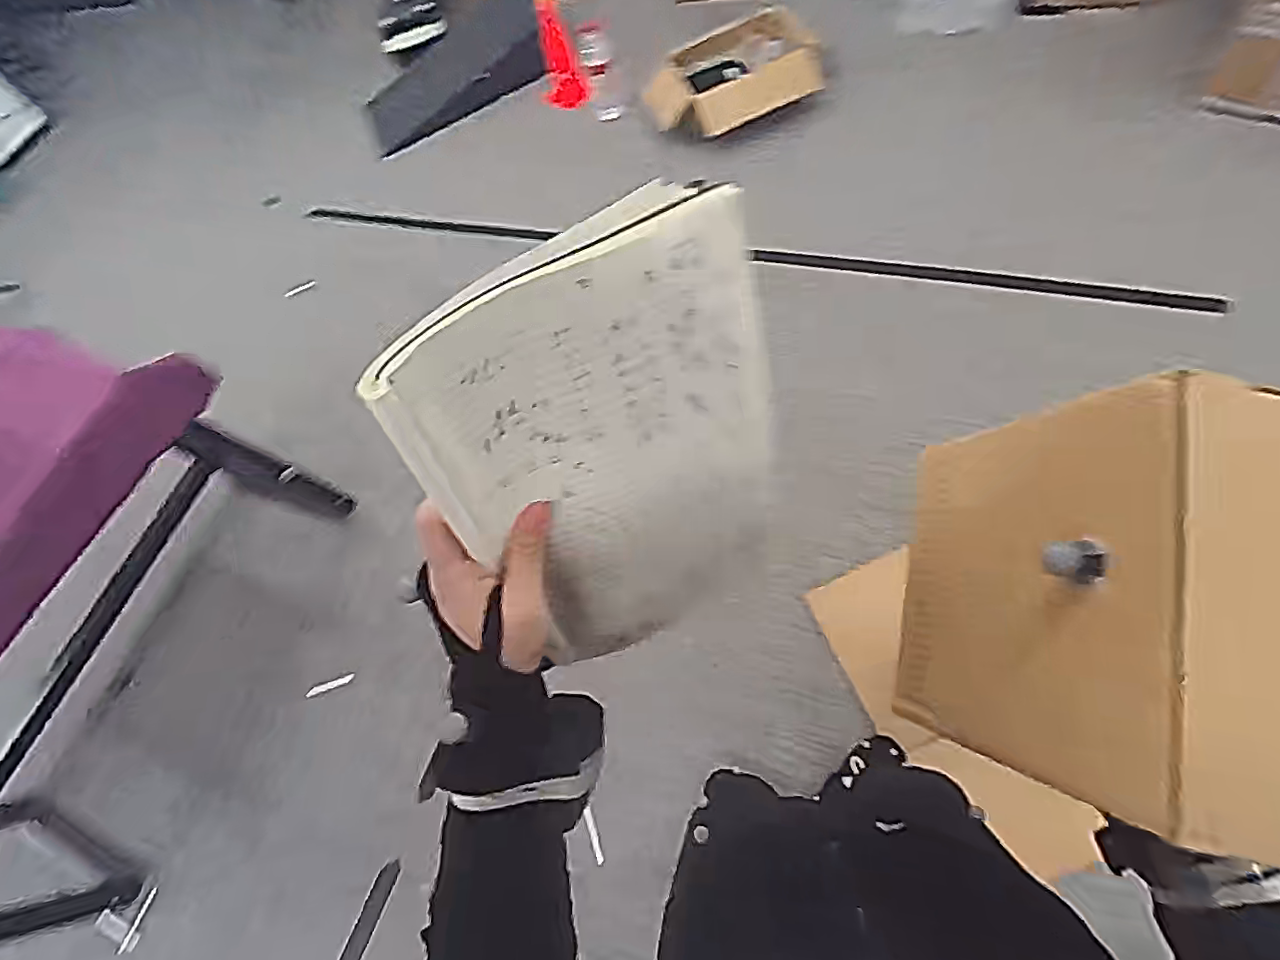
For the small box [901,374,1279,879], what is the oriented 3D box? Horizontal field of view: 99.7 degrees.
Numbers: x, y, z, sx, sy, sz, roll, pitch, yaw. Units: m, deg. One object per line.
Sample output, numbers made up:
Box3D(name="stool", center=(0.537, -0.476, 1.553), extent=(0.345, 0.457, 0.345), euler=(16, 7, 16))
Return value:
Box3D(name="small box", center=(0.260, 0.072, 0.278), extent=(0.168, 0.176, 0.179), euler=(12, 78, -4))
